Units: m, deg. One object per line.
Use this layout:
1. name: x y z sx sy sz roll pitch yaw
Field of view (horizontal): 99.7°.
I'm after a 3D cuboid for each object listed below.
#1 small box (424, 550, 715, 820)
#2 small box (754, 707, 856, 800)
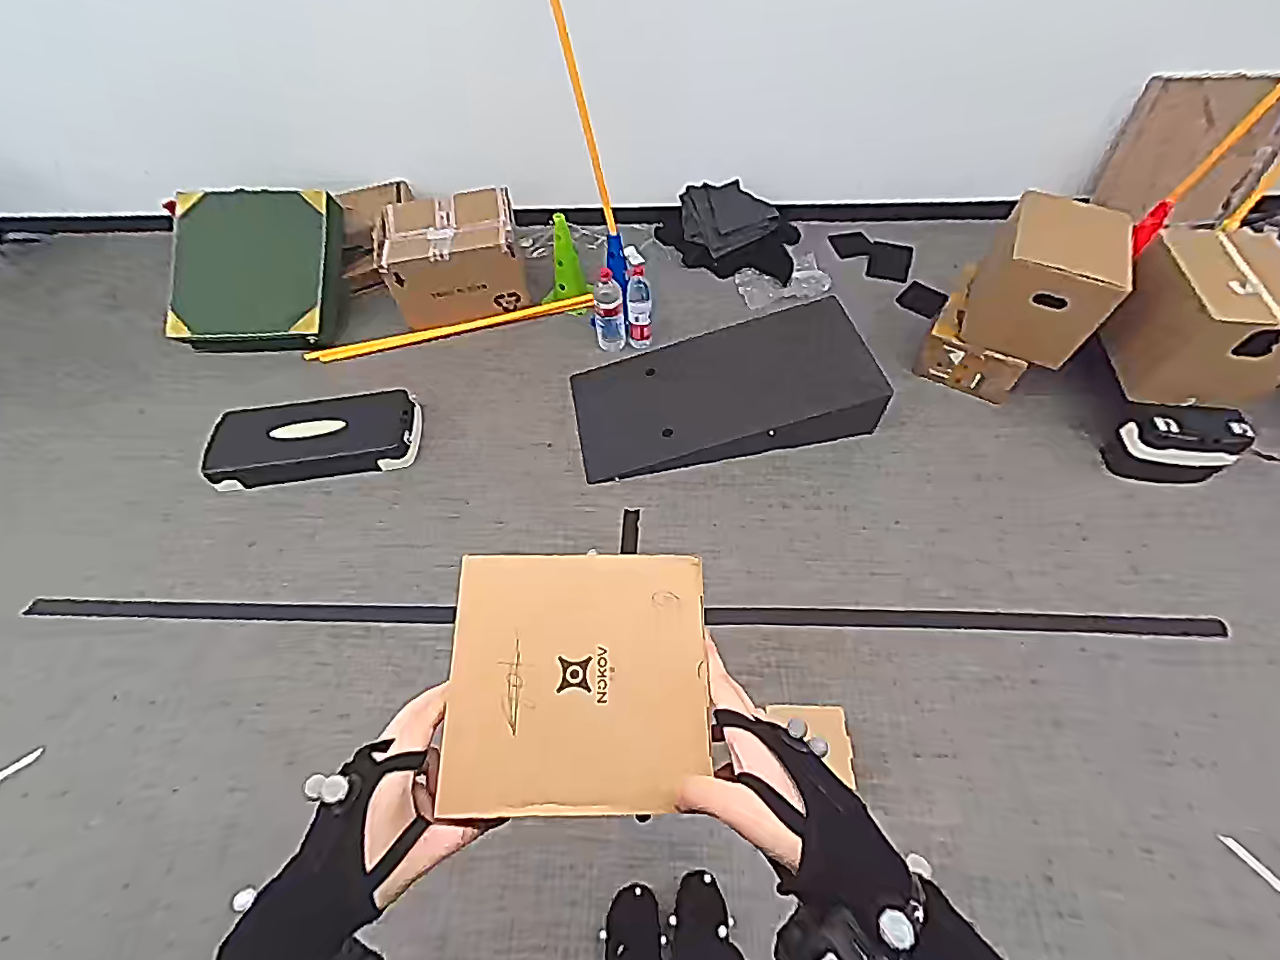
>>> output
1. small box: -0.044 0.157 0.426 0.179 0.176 0.168 1 66 -2
2. small box: 0.364 0.622 1.223 0.179 0.176 0.168 2 56 2
